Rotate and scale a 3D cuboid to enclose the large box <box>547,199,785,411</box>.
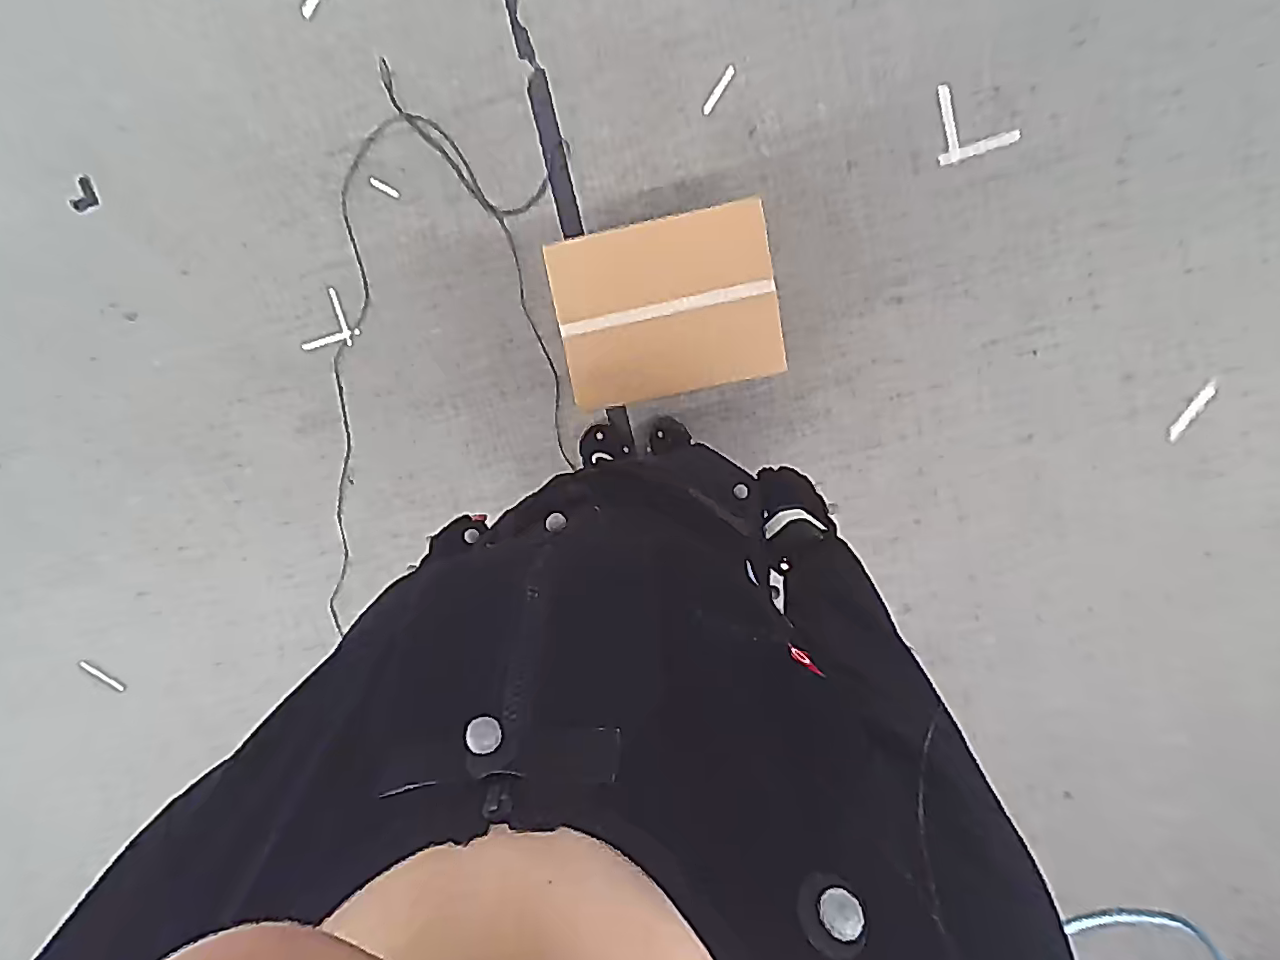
[{"bbox_3d":[0.055,-0.343,1.152,0.408,0.320,0.320,-11,100,5],"label":"large box"}]
